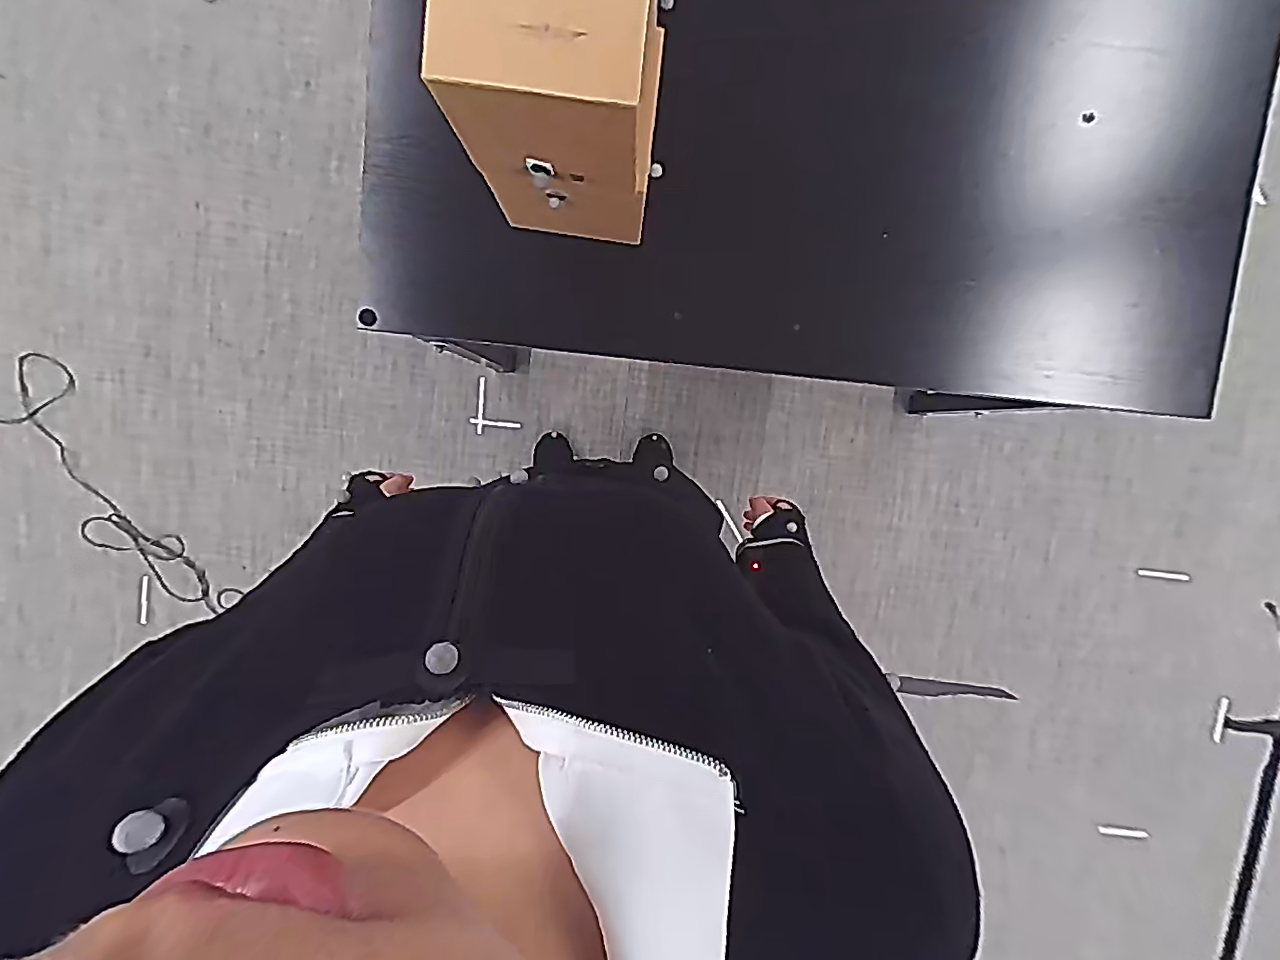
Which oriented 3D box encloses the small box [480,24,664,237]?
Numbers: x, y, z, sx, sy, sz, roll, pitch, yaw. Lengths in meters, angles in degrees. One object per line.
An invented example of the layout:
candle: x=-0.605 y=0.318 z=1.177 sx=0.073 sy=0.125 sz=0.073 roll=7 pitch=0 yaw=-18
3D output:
small box: x=-0.074 y=-0.407 z=0.640 sx=0.179 sy=0.176 sz=0.168 roll=7 pitch=95 yaw=-3

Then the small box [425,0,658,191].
small box: x=-0.072 y=-0.390 z=0.478 sx=0.168 sy=0.176 sz=0.179 roll=6 pitch=96 yaw=-1
